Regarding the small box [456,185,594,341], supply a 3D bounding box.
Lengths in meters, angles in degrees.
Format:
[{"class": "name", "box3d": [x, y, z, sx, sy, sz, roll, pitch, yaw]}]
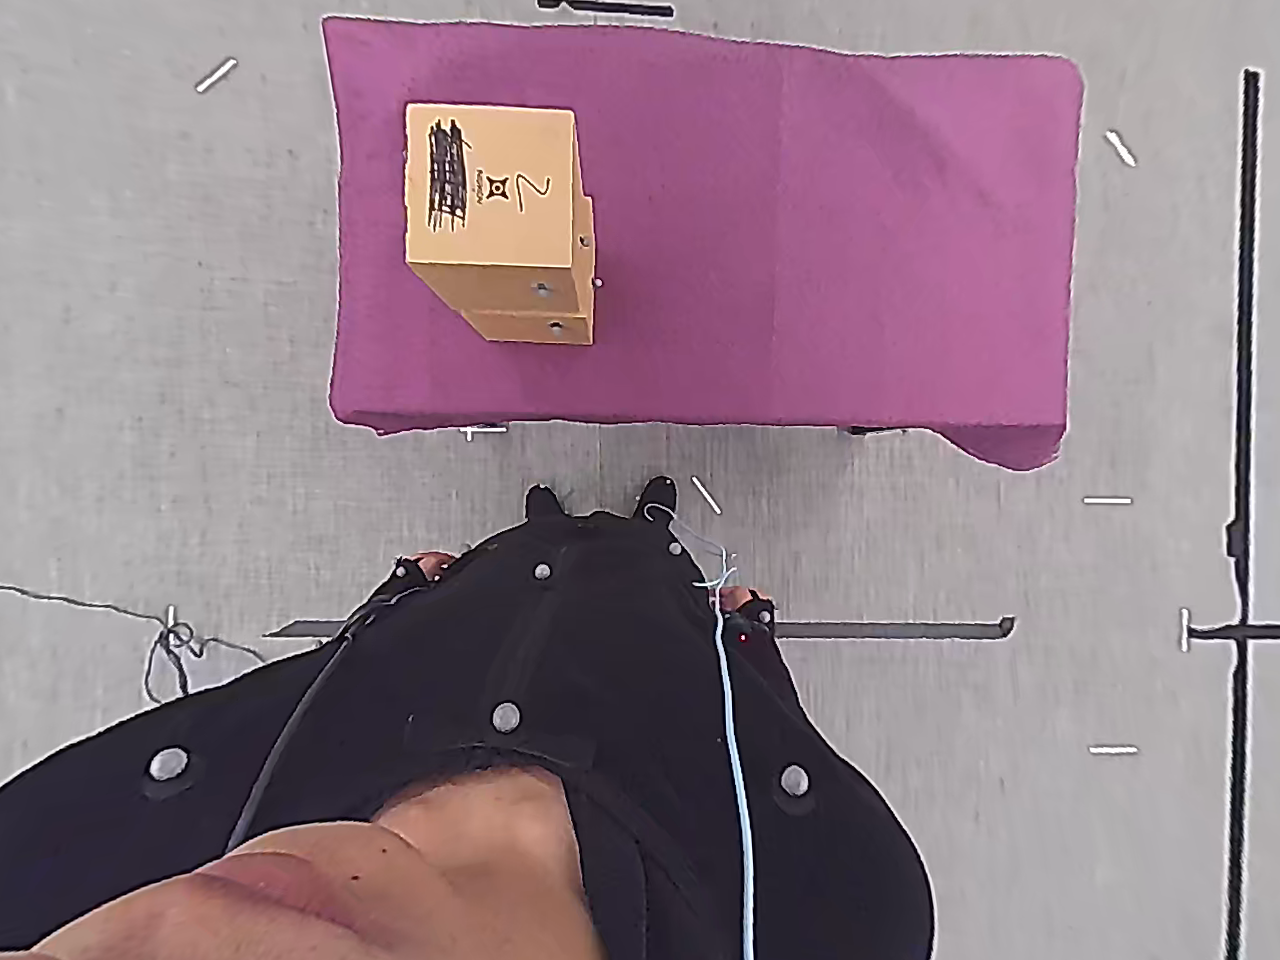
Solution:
[{"class": "small box", "box3d": [-0.160, -0.309, 0.803, 0.179, 0.176, 0.168, 2, 92, -3]}]
